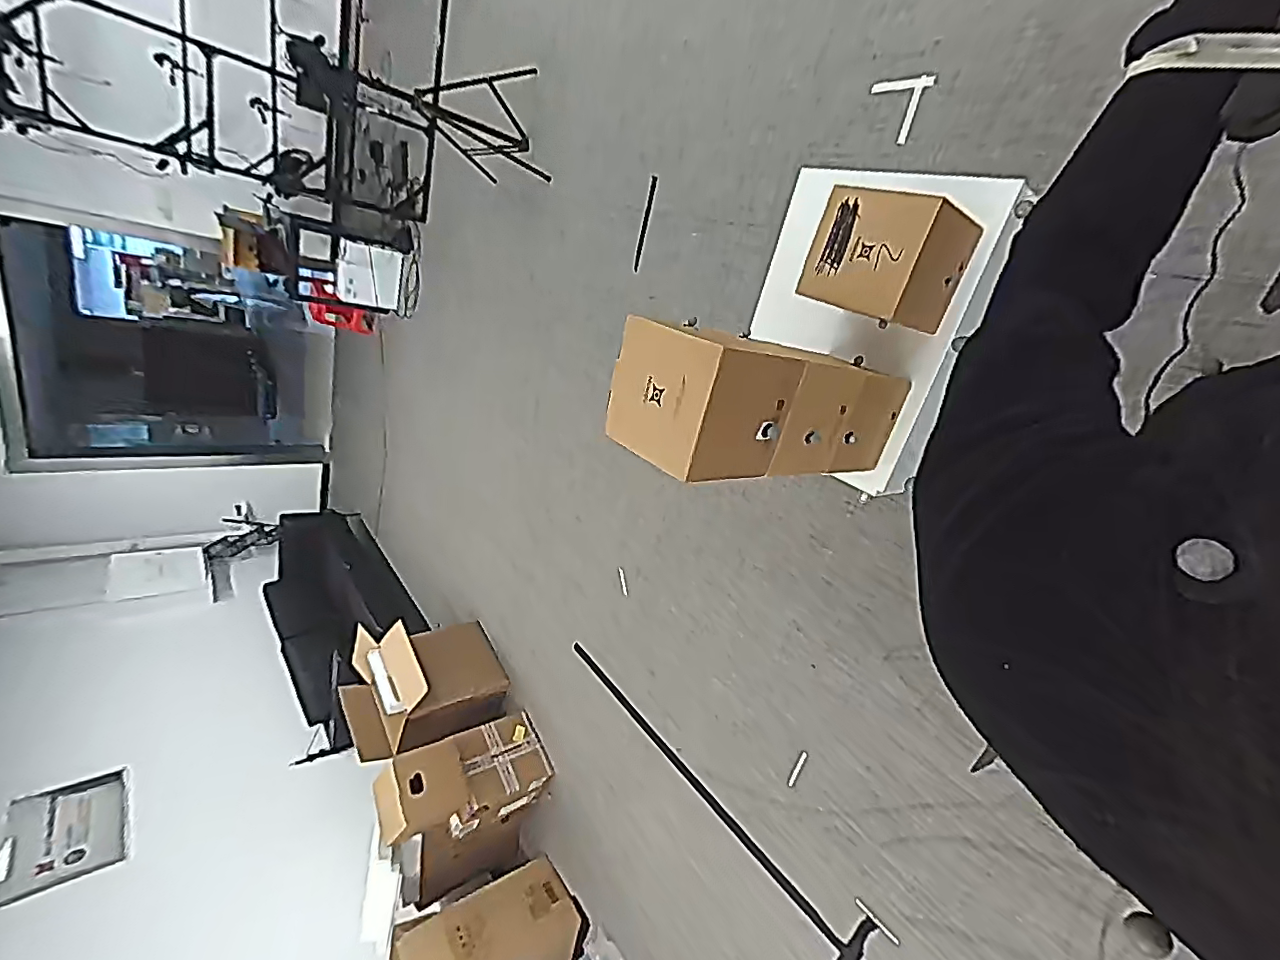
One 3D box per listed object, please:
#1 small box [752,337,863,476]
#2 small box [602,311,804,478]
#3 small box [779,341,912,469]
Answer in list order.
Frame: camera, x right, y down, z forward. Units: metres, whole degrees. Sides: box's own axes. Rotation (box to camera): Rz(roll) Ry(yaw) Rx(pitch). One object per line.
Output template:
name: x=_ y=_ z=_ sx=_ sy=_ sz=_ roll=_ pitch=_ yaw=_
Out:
small box: x=0.203 y=-0.119 z=0.820 sx=0.179 sy=0.176 sz=0.168 roll=34 pitch=118 yaw=42
small box: x=0.080 y=-0.113 z=0.714 sx=0.179 sy=0.176 sz=0.168 roll=33 pitch=118 yaw=42
small box: x=0.323 y=-0.128 z=0.928 sx=0.179 sy=0.176 sz=0.168 roll=36 pitch=120 yaw=42
